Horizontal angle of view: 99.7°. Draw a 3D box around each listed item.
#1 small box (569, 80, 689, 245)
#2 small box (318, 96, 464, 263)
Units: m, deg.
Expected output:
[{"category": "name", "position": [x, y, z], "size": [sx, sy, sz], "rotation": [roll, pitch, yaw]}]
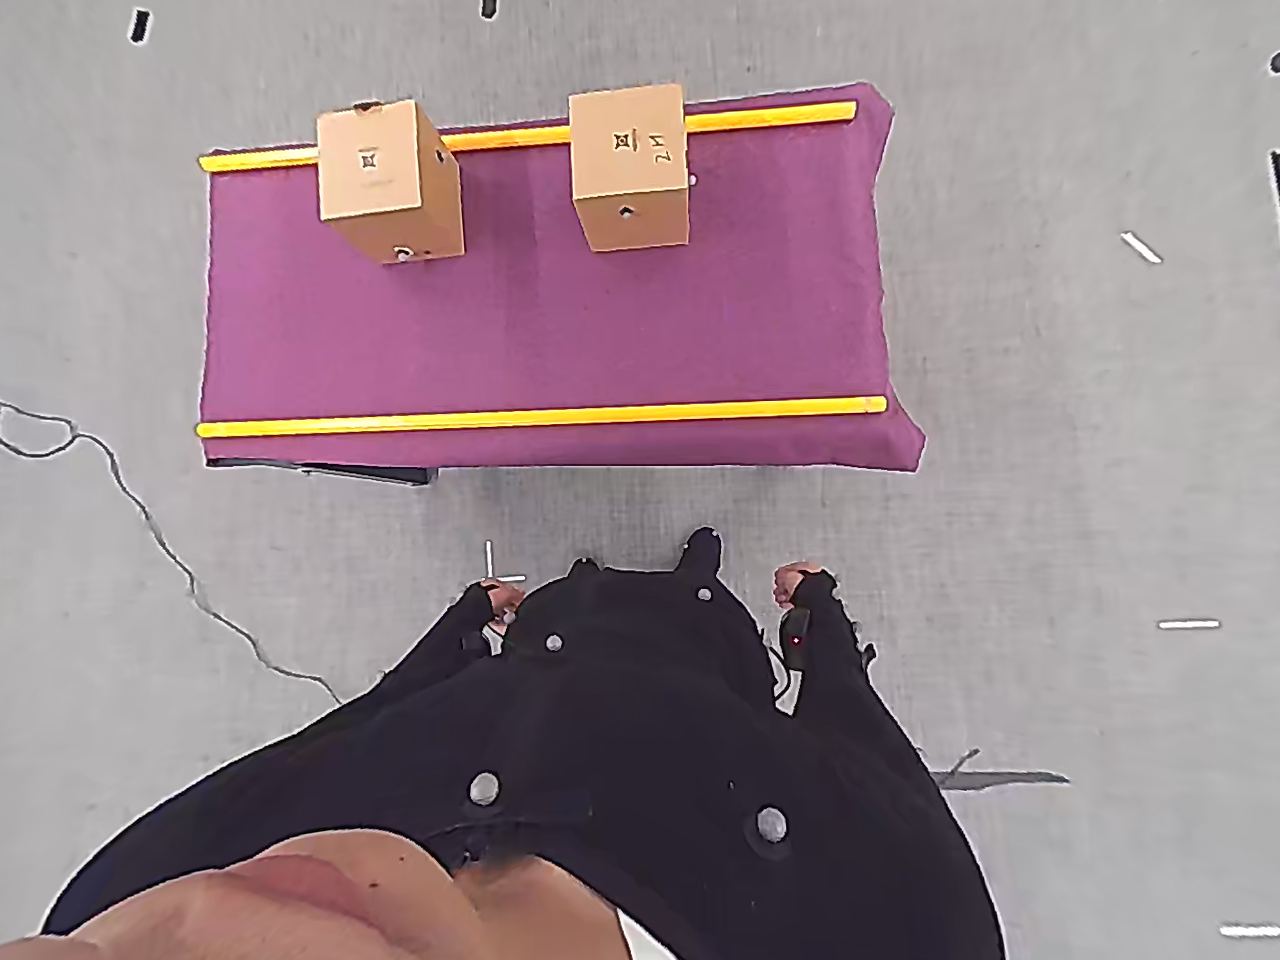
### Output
[{"category": "small box", "position": [-0.011, -0.501, 0.880], "size": [0.179, 0.176, 0.168], "rotation": [-3, 87, 5]}, {"category": "small box", "position": [-0.411, -0.495, 0.913], "size": [0.168, 0.176, 0.179], "rotation": [-5, 86, 5]}]
